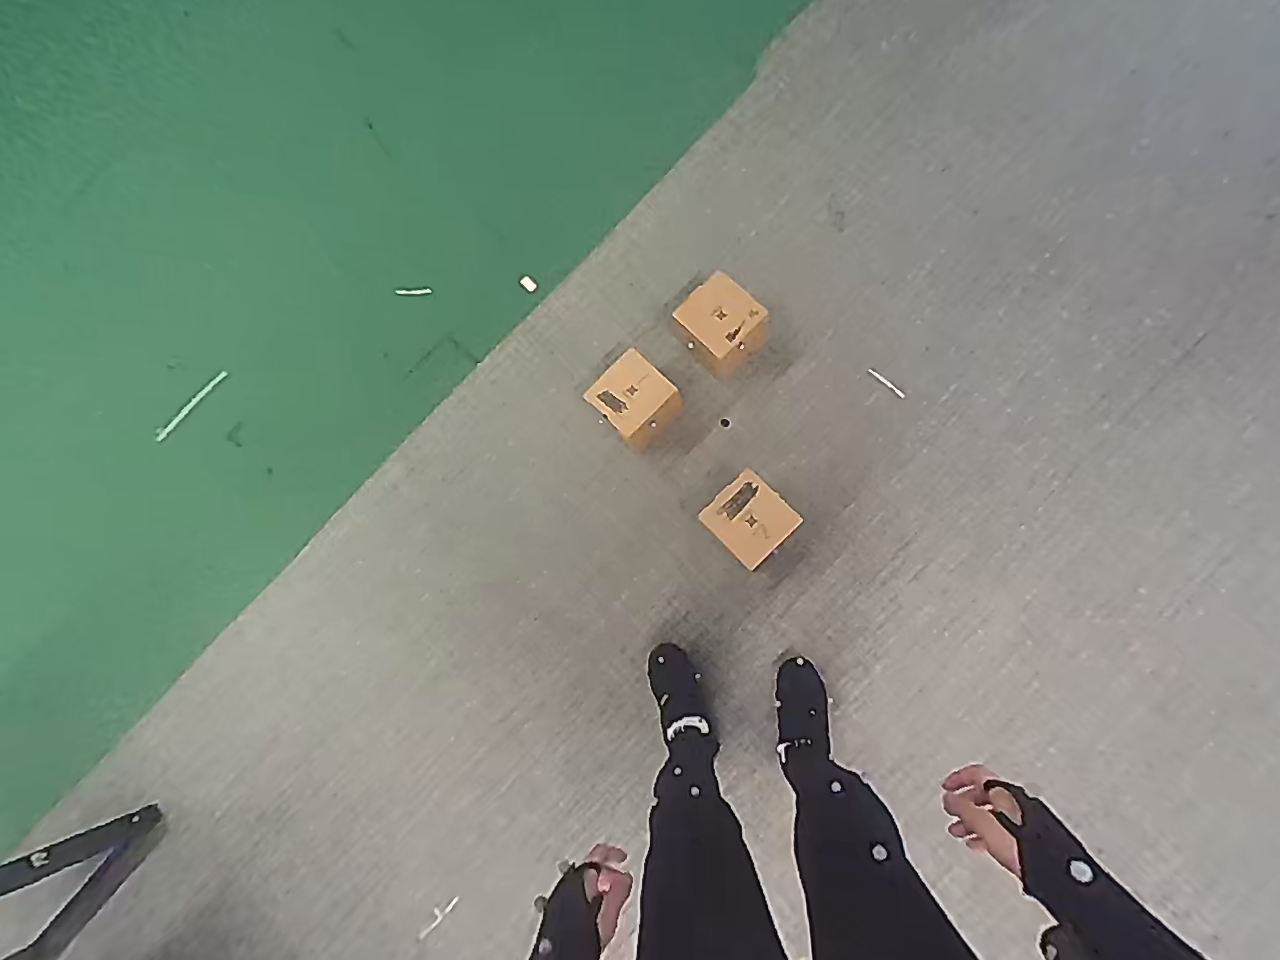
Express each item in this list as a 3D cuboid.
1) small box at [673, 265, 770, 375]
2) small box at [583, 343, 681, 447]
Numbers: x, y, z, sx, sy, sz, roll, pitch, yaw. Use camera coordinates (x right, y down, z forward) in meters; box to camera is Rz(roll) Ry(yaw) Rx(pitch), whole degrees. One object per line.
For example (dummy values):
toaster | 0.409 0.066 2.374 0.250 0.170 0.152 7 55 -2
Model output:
small box | 0.207 -0.398 1.375 0.168 0.176 0.179 -44 75 1
small box | -0.011 -0.207 1.381 0.179 0.176 0.168 -45 76 0
